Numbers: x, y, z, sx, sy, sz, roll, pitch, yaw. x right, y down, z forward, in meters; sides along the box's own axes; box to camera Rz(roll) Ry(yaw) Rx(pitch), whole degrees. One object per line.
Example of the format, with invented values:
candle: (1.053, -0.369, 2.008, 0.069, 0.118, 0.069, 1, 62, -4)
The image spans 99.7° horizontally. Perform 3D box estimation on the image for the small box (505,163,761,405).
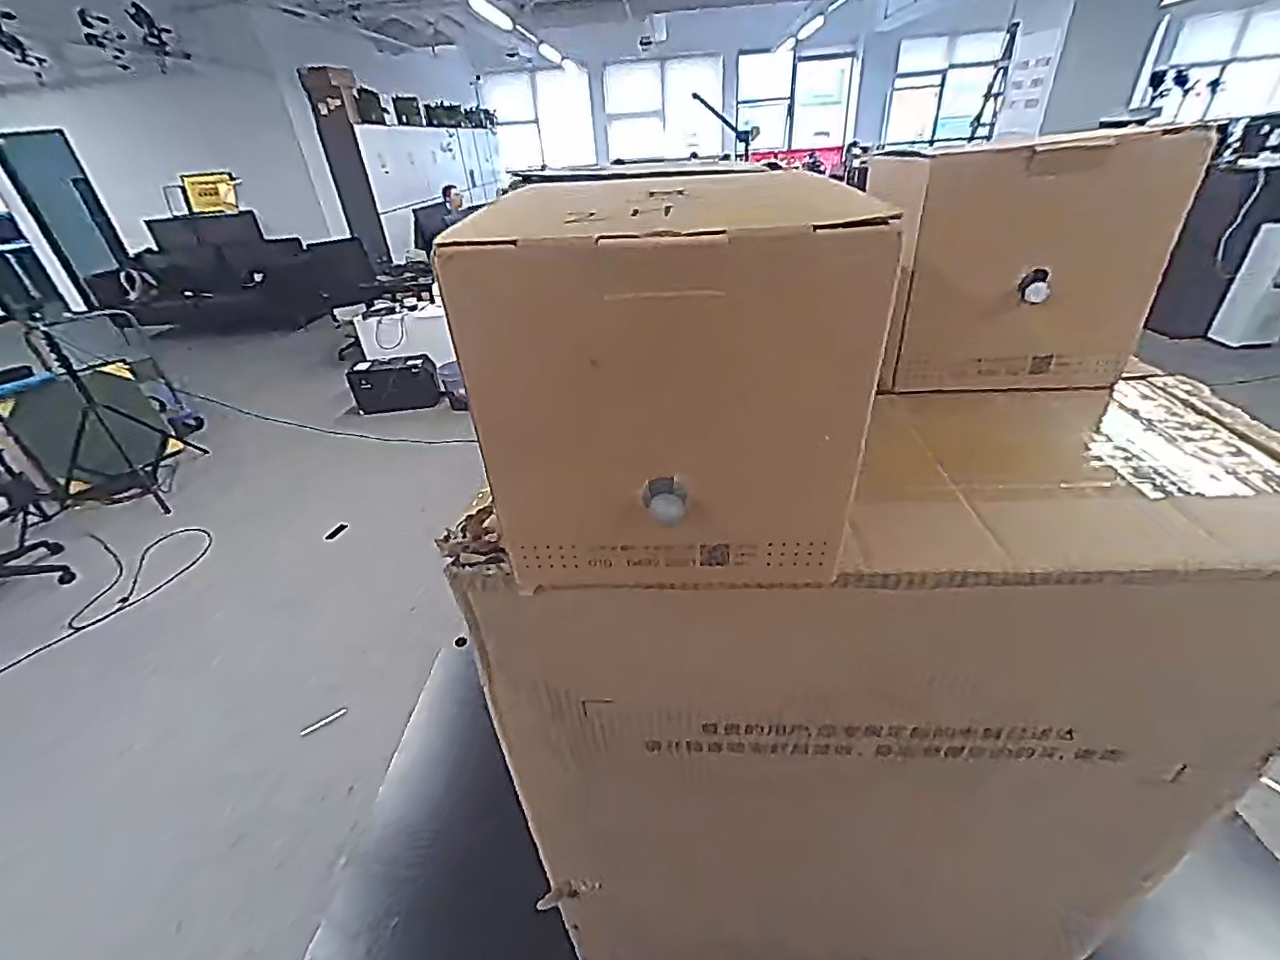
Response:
small box: (0.004, -0.171, 0.466, 0.179, 0.176, 0.168, 0, 32, 5)
